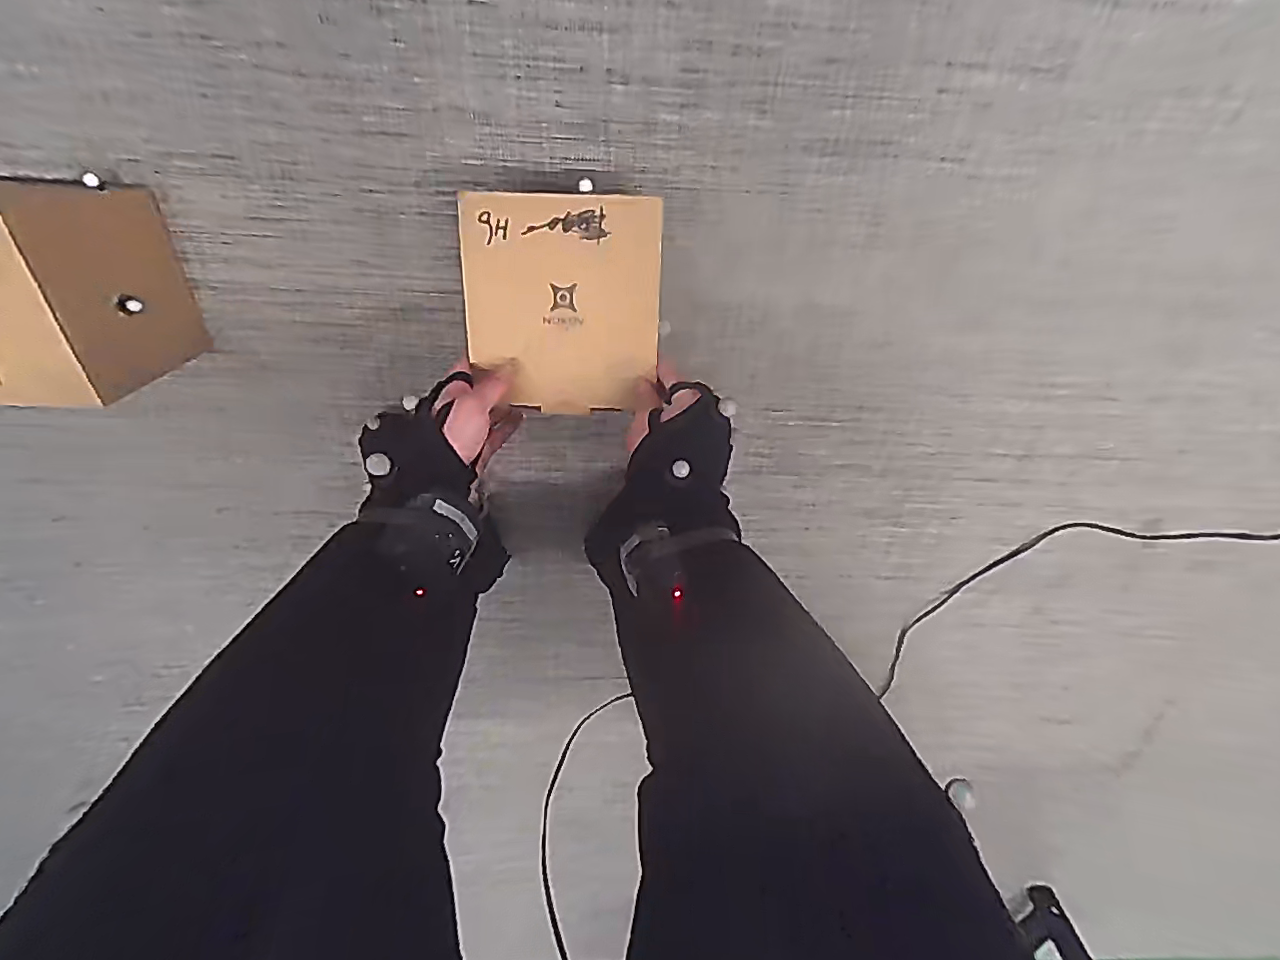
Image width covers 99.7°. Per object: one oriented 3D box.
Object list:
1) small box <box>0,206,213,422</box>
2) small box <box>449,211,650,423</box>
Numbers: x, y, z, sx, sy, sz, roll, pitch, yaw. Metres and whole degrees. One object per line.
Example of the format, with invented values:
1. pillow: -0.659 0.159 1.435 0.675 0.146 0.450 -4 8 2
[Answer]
1. small box: -0.601 -0.176 0.557 0.168 0.176 0.179 1 124 -2
2. small box: -0.075 -0.164 0.545 0.168 0.176 0.179 1 110 1
